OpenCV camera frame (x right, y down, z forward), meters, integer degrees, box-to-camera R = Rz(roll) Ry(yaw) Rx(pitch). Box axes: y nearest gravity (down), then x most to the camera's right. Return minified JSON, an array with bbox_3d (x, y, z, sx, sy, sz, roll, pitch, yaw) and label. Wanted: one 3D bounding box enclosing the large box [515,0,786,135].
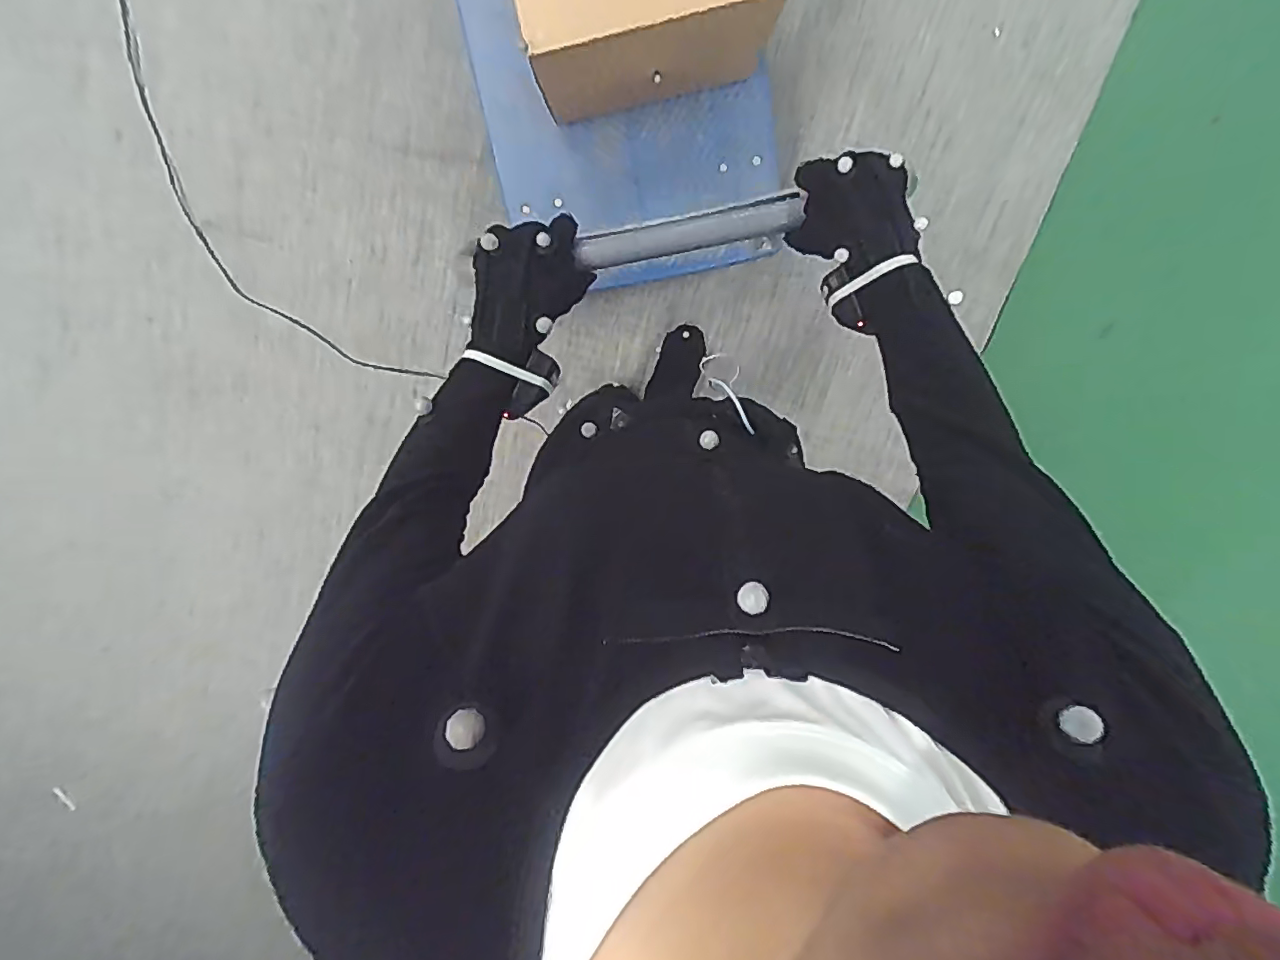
[{"bbox_3d":[-0.001,-0.855,0.926,0.408,0.320,0.320,-12,104,5],"label":"large box"}]
